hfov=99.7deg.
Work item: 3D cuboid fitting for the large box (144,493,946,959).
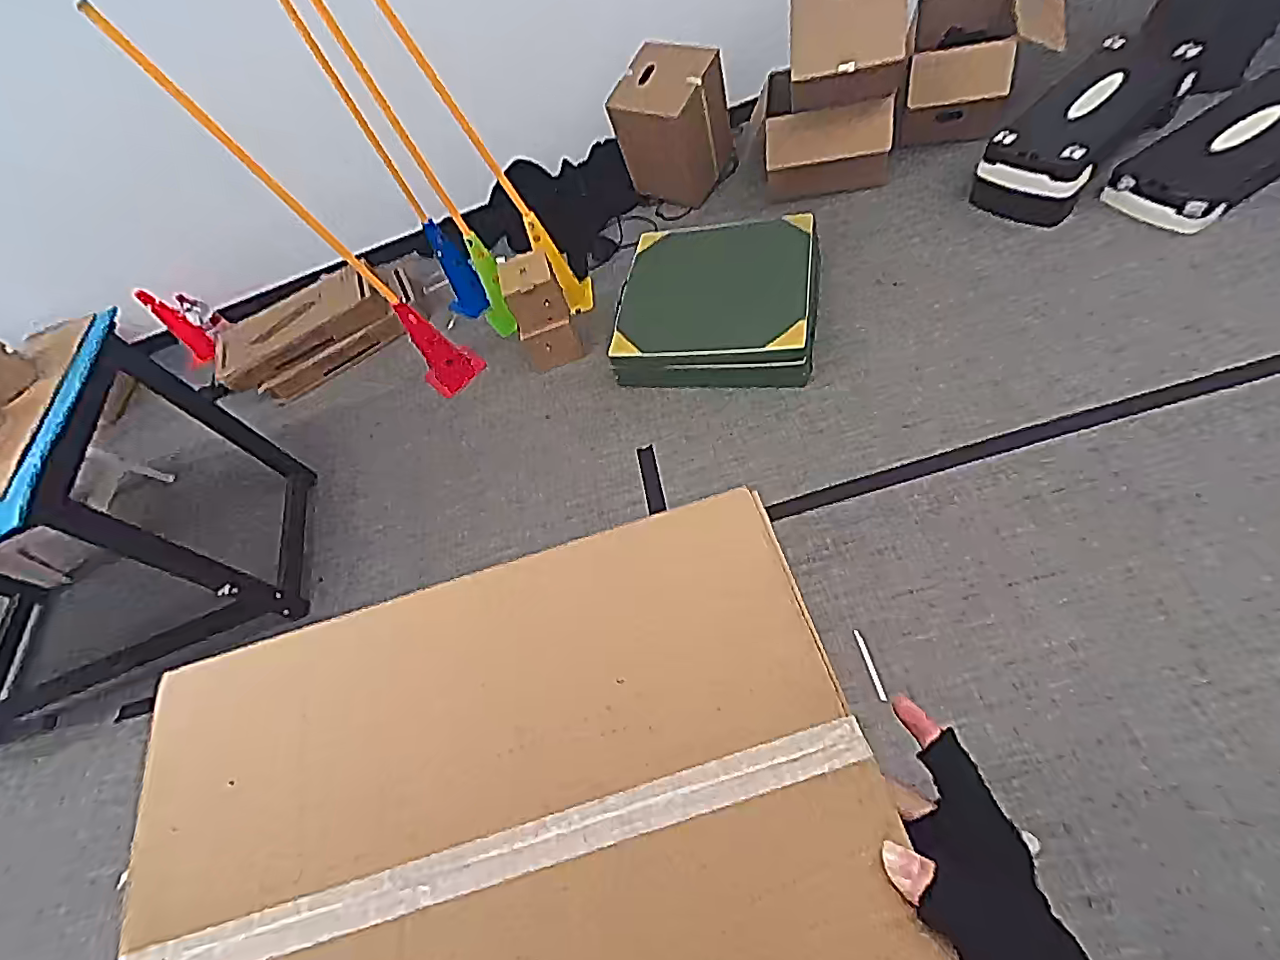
[{"bbox_3d":[-0.055,0.261,0.424,0.408,0.320,0.320,-18,62,0],"label":"large box"}]
